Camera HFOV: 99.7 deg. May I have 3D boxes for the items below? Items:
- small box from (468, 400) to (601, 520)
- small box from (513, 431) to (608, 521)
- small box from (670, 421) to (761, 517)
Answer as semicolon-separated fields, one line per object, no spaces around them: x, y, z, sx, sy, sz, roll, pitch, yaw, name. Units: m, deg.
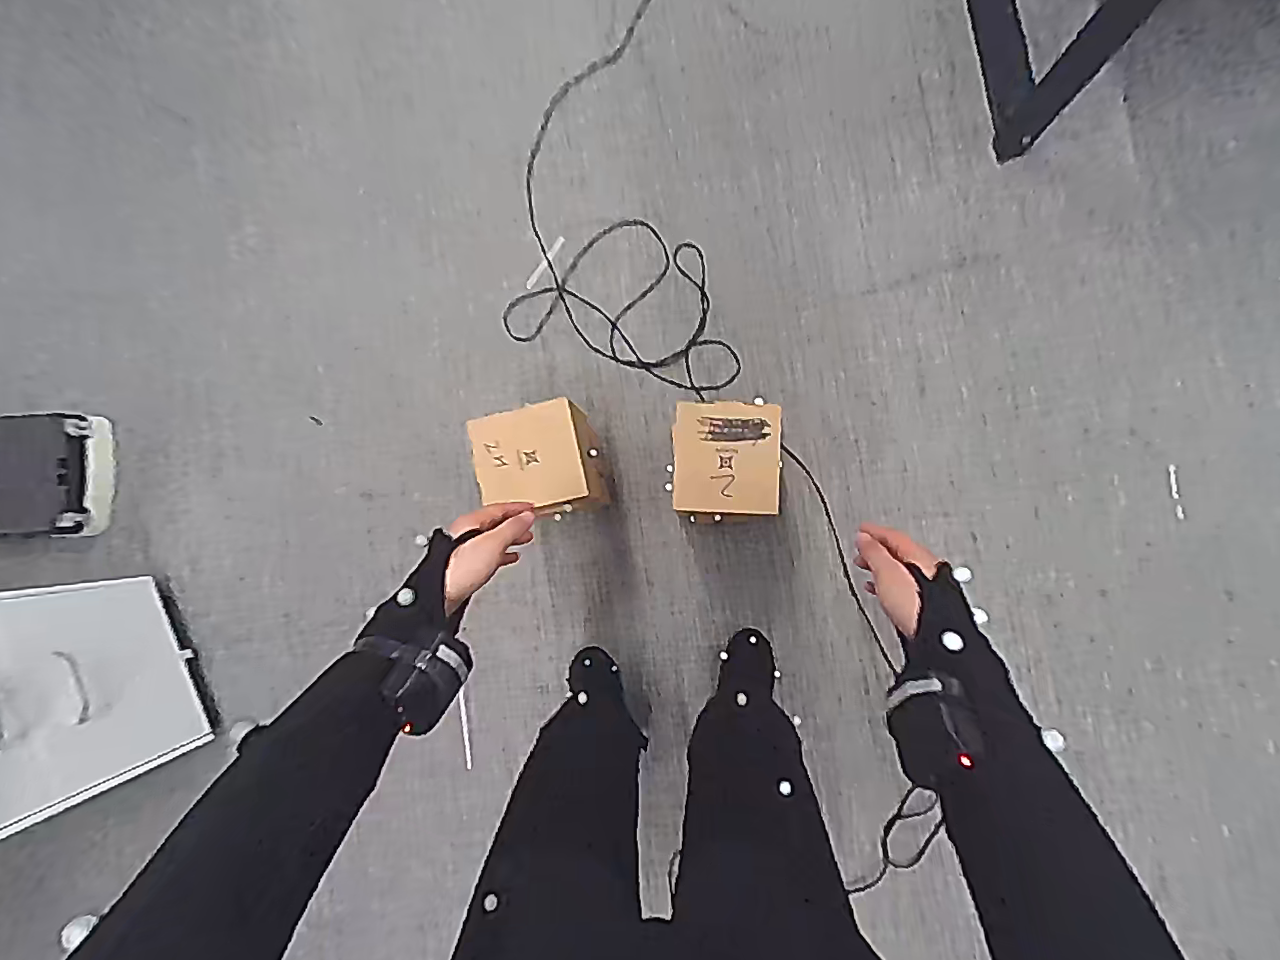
-0.174;-0.031;0.956;0.179;0.176;0.168;-14;86;6;small box
-0.168;-0.013;1.121;0.179;0.176;0.168;-11;86;4;small box
0.150;-0.017;1.093;0.168;0.176;0.179;-3;85;5;small box
